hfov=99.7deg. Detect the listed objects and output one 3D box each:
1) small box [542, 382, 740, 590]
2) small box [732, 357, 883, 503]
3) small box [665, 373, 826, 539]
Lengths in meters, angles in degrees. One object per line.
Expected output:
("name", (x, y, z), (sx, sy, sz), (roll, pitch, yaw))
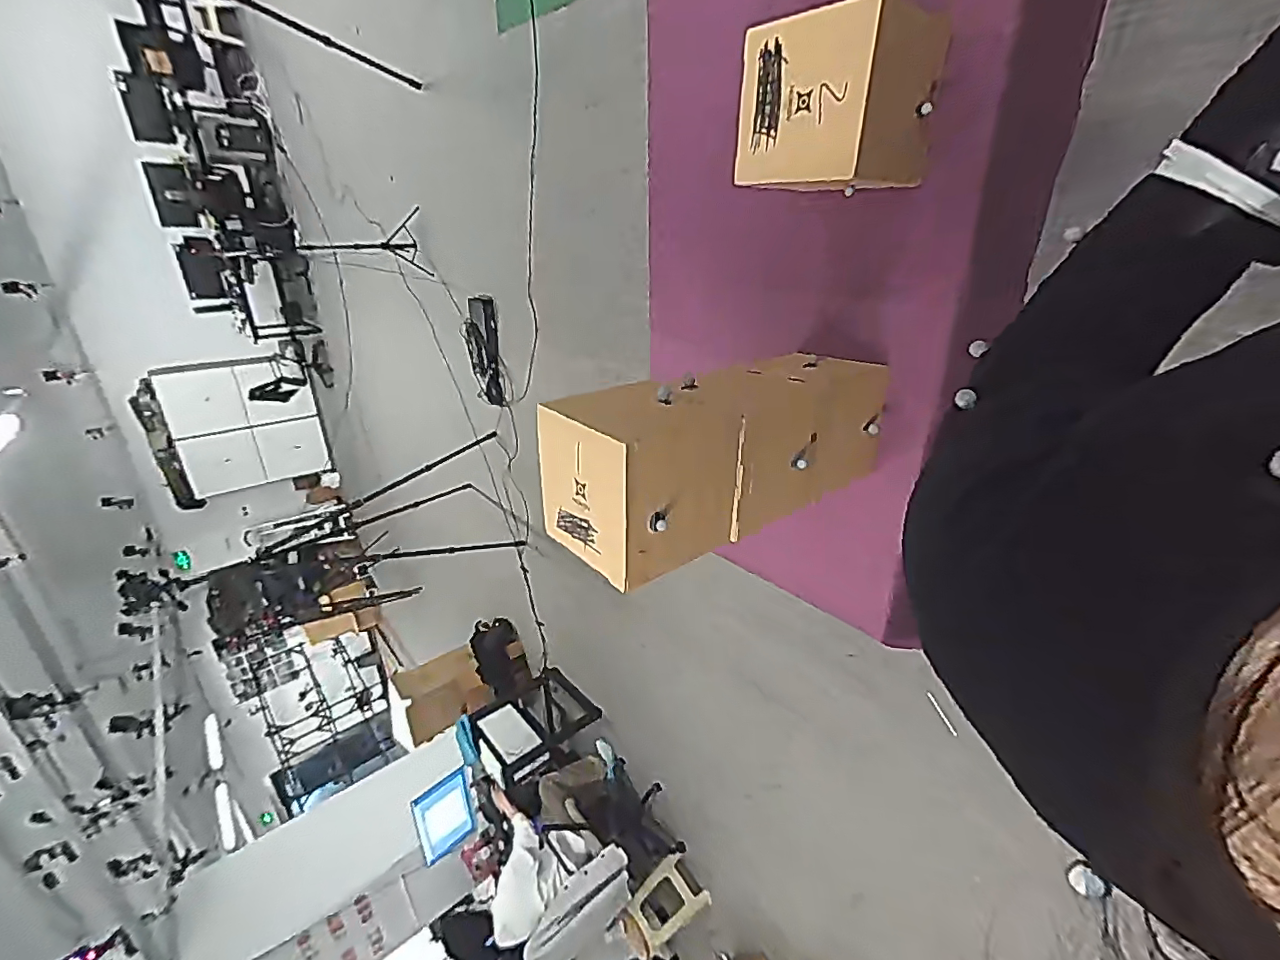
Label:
("small box", (0.001, -0.005, 0.647), (0.168, 0.176, 0.179), (27, 125, 43))
("small box", (0.255, -0.090, 0.841), (0.168, 0.176, 0.179), (23, 123, 45))
("small box", (0.126, -0.046, 0.746), (0.179, 0.176, 0.168), (25, 125, 43))
